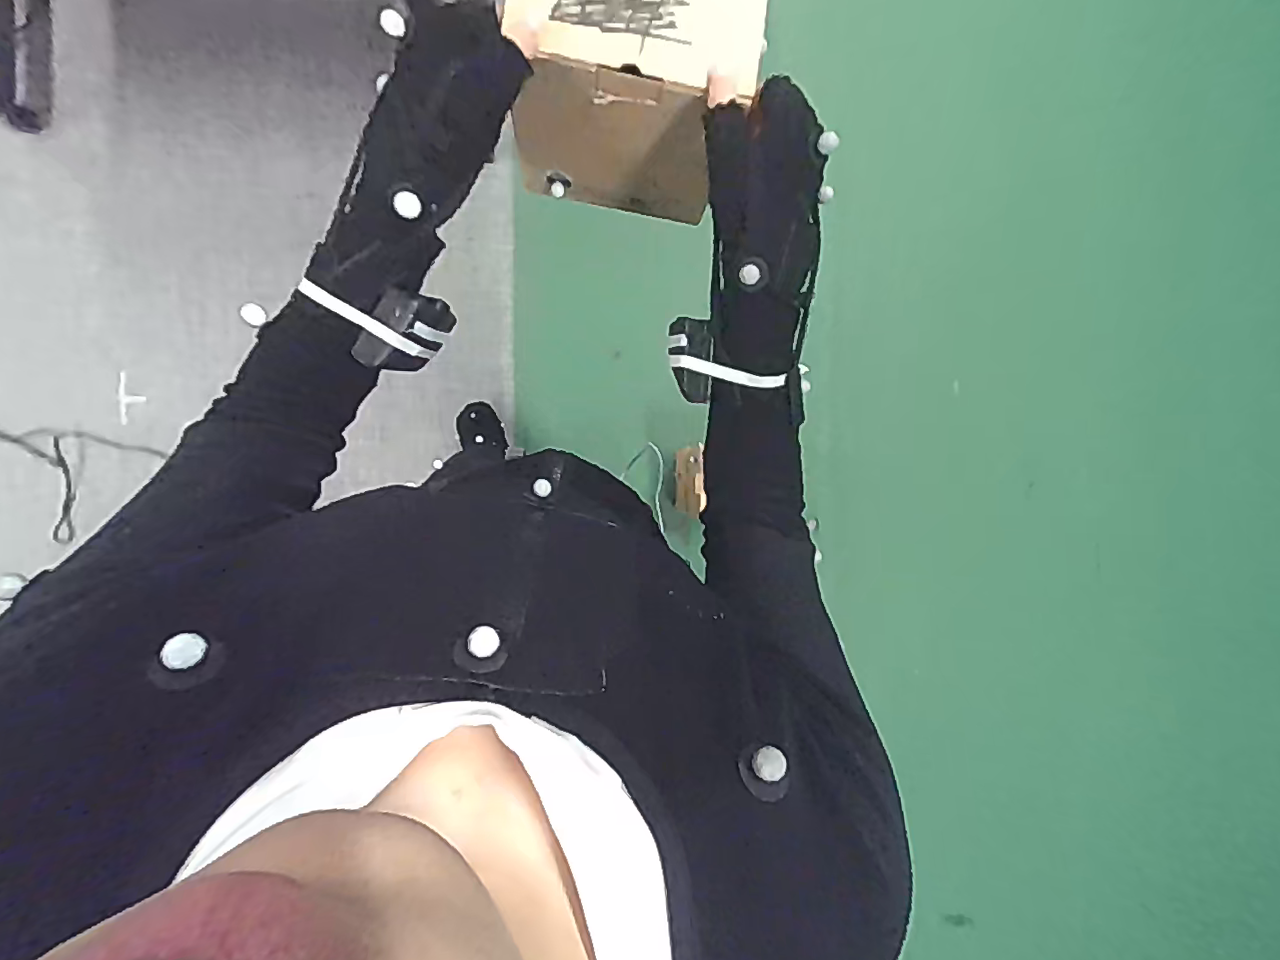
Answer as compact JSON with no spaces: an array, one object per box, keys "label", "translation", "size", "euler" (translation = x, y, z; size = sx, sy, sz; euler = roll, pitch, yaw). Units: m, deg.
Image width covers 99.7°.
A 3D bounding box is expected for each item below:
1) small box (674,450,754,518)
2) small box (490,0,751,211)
[{"label":"small box","translation":[0.189,0.007,1.422],"size":[0.179,0.176,0.168],"euler":[2,91,-4]},{"label":"small box","translation":[-0.011,-0.346,0.428],"size":[0.168,0.176,0.179],"euler":[8,87,-6]}]
